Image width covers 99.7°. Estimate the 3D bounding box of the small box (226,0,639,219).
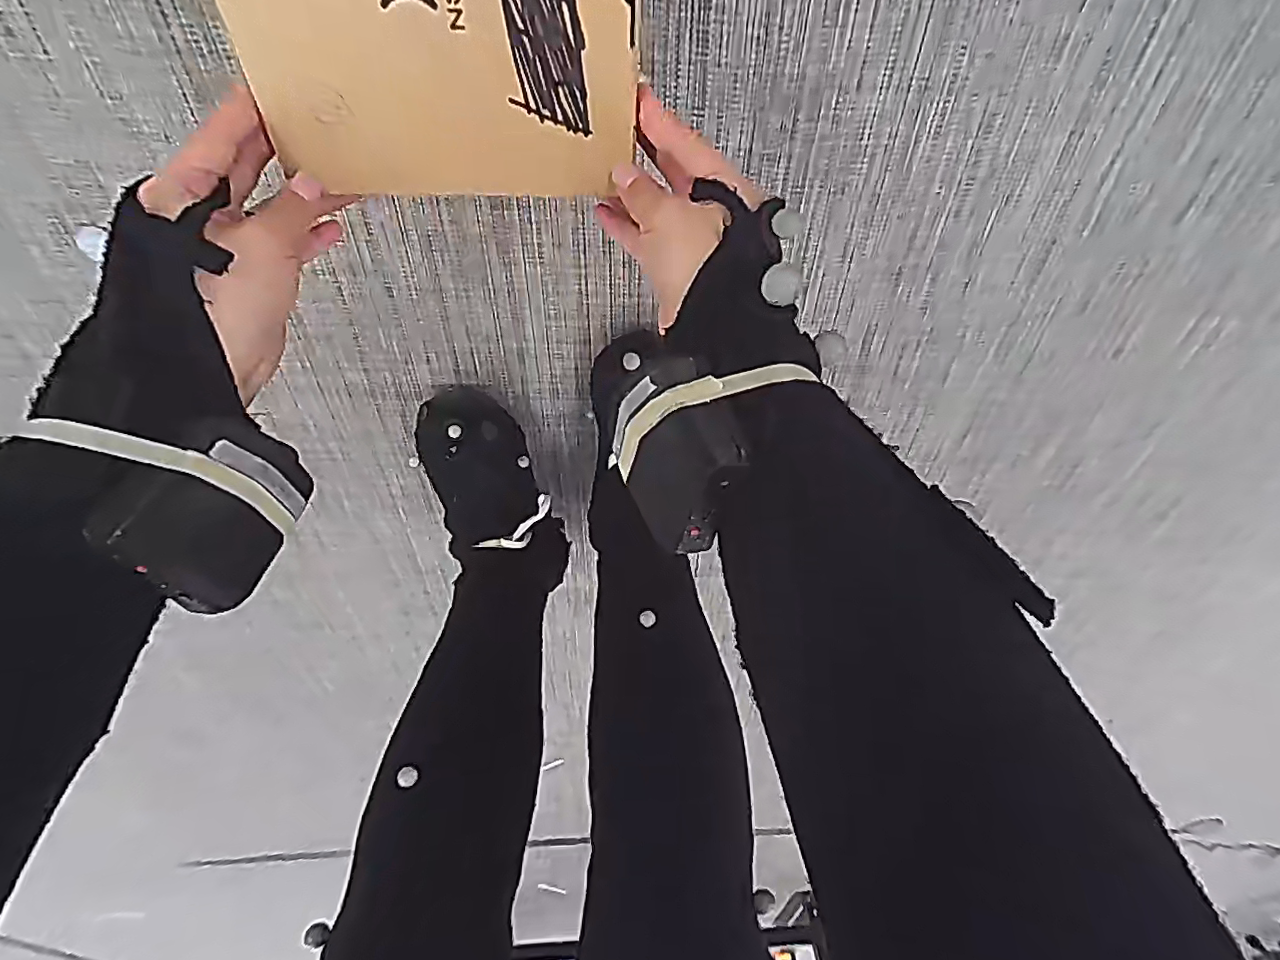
[{"bbox_3d":[-0.091,-0.256,0.291,0.179,0.176,0.168,-1,133,-2],"label":"small box"}]
